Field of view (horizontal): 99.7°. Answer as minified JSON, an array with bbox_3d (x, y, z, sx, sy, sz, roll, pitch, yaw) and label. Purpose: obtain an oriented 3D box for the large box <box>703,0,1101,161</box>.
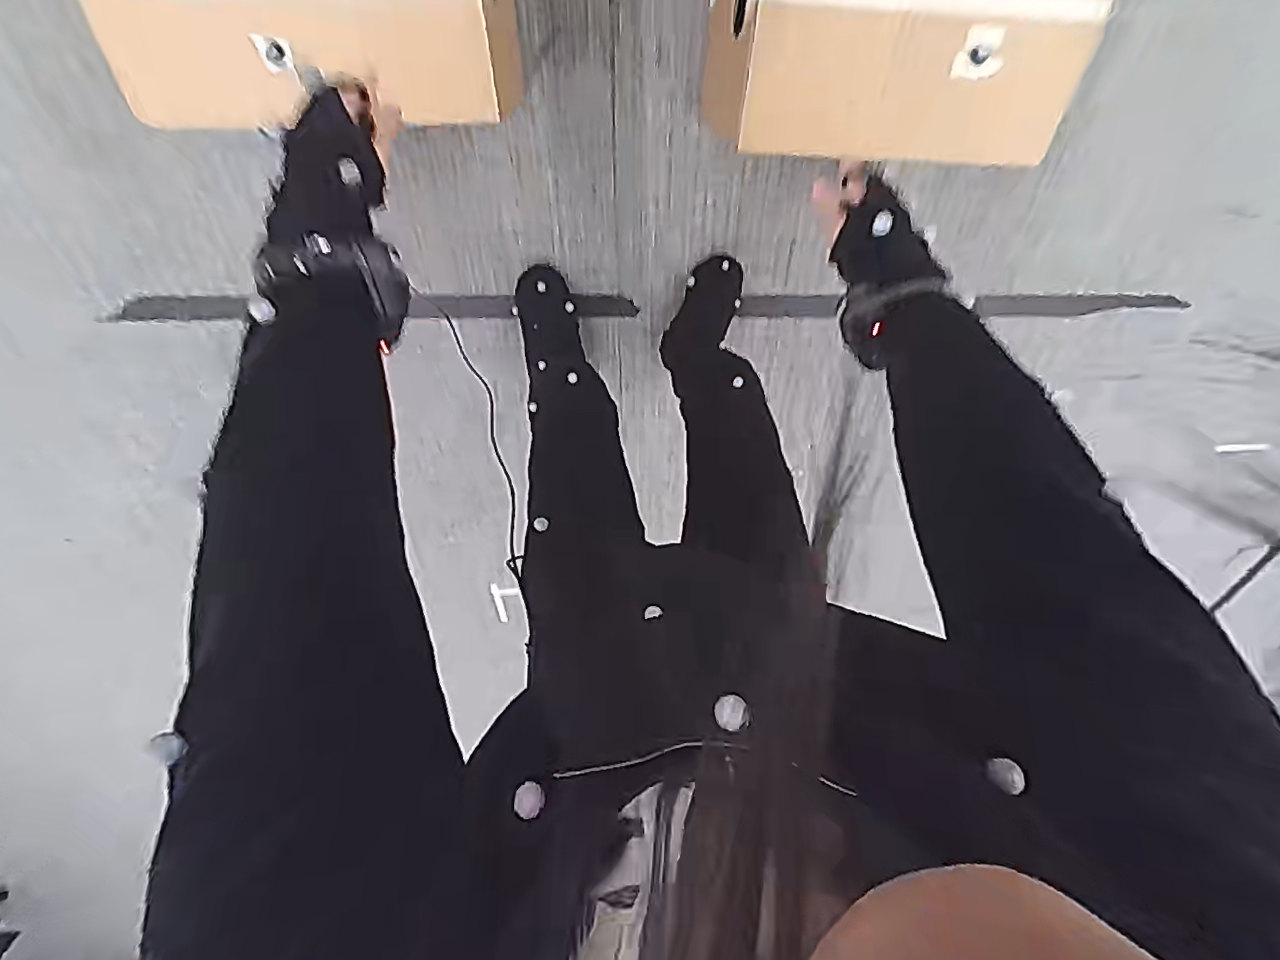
[{"bbox_3d":[0.318,-0.632,0.727,0.408,0.320,0.320,0,128,-6],"label":"large box"}]
